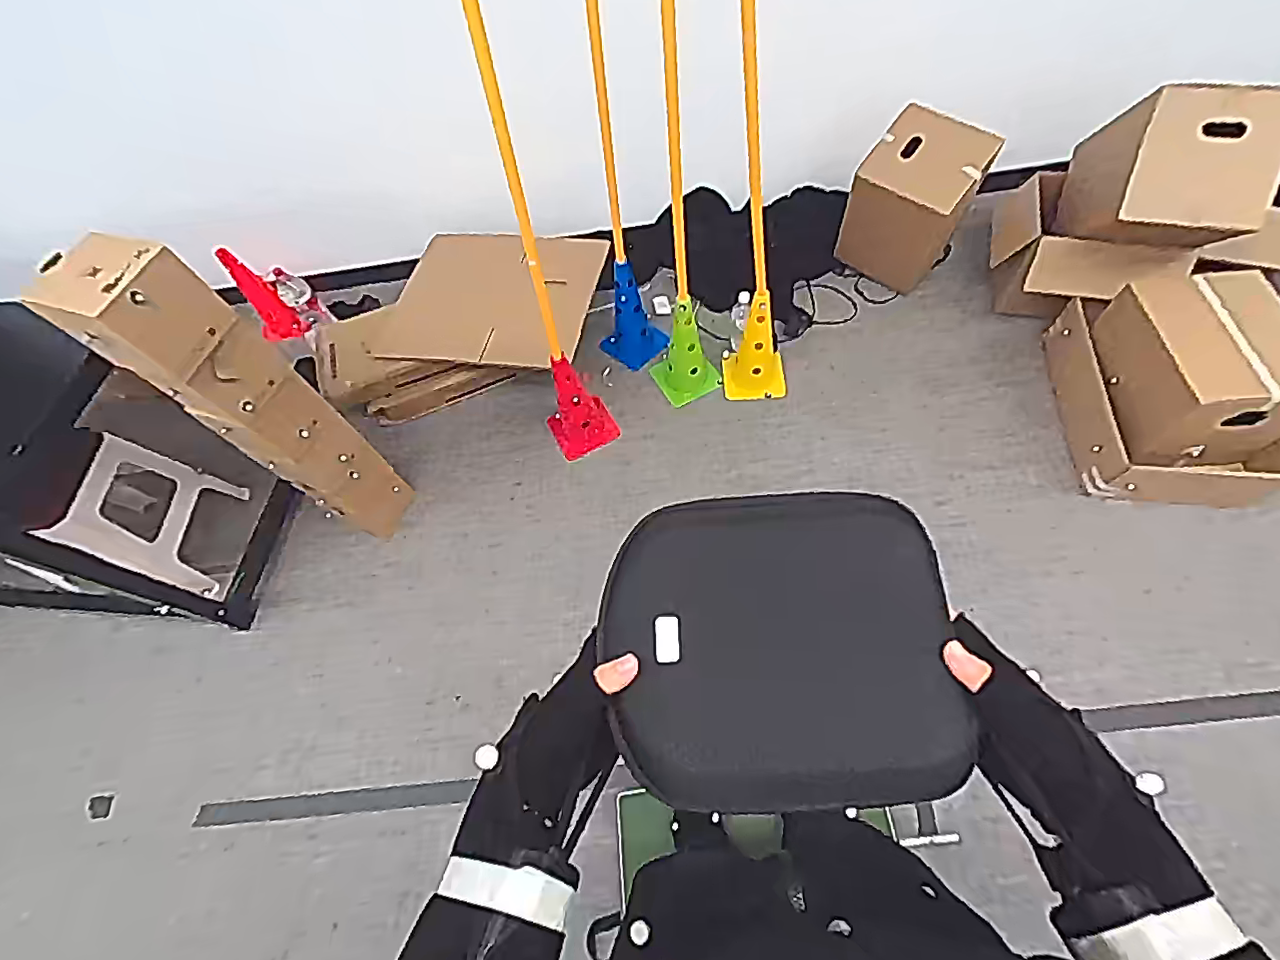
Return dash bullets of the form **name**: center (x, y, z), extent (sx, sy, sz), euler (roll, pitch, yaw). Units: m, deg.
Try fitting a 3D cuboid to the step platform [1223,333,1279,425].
- **step platform**: center (2.102, -0.415, 1.574), extent (0.684, 0.204, 0.286), euler (-33, 63, -11)
